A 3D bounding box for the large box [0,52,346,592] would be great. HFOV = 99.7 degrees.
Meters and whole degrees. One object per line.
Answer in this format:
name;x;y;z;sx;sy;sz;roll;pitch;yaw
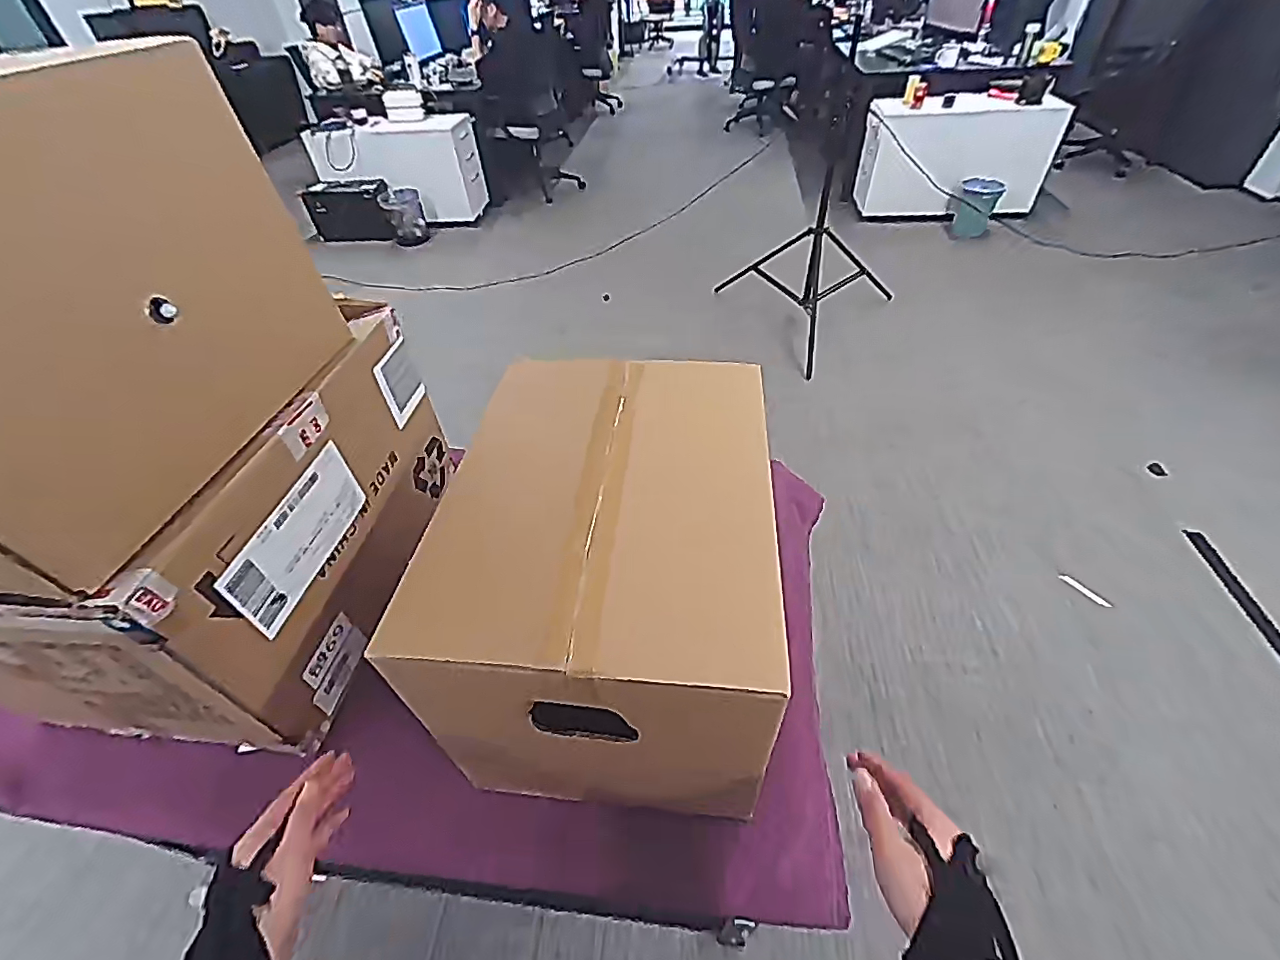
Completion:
large box;-0.568;-0.155;0.498;0.320;0.320;0.408;0;45;11
